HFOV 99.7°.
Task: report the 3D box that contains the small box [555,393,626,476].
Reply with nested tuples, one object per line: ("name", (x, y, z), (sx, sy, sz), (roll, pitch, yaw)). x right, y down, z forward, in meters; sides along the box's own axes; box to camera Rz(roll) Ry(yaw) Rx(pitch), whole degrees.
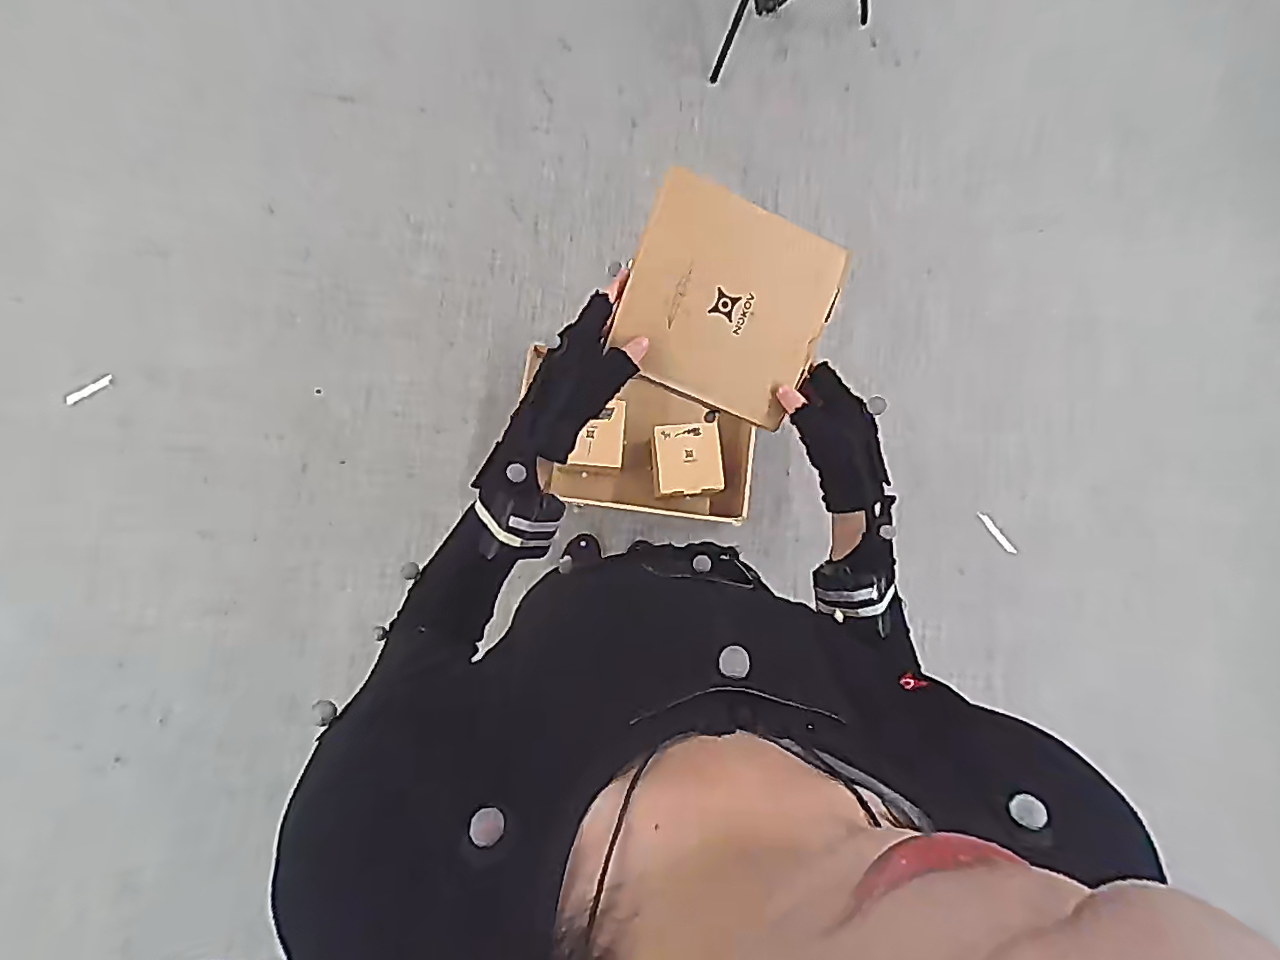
("small box", (-0.132, -0.113, 1.420), (0.168, 0.176, 0.179), (5, 83, -6))

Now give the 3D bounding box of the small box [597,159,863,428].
("small box", (0.069, -0.164, 0.524), (0.179, 0.176, 0.168), (20, 97, -11))
